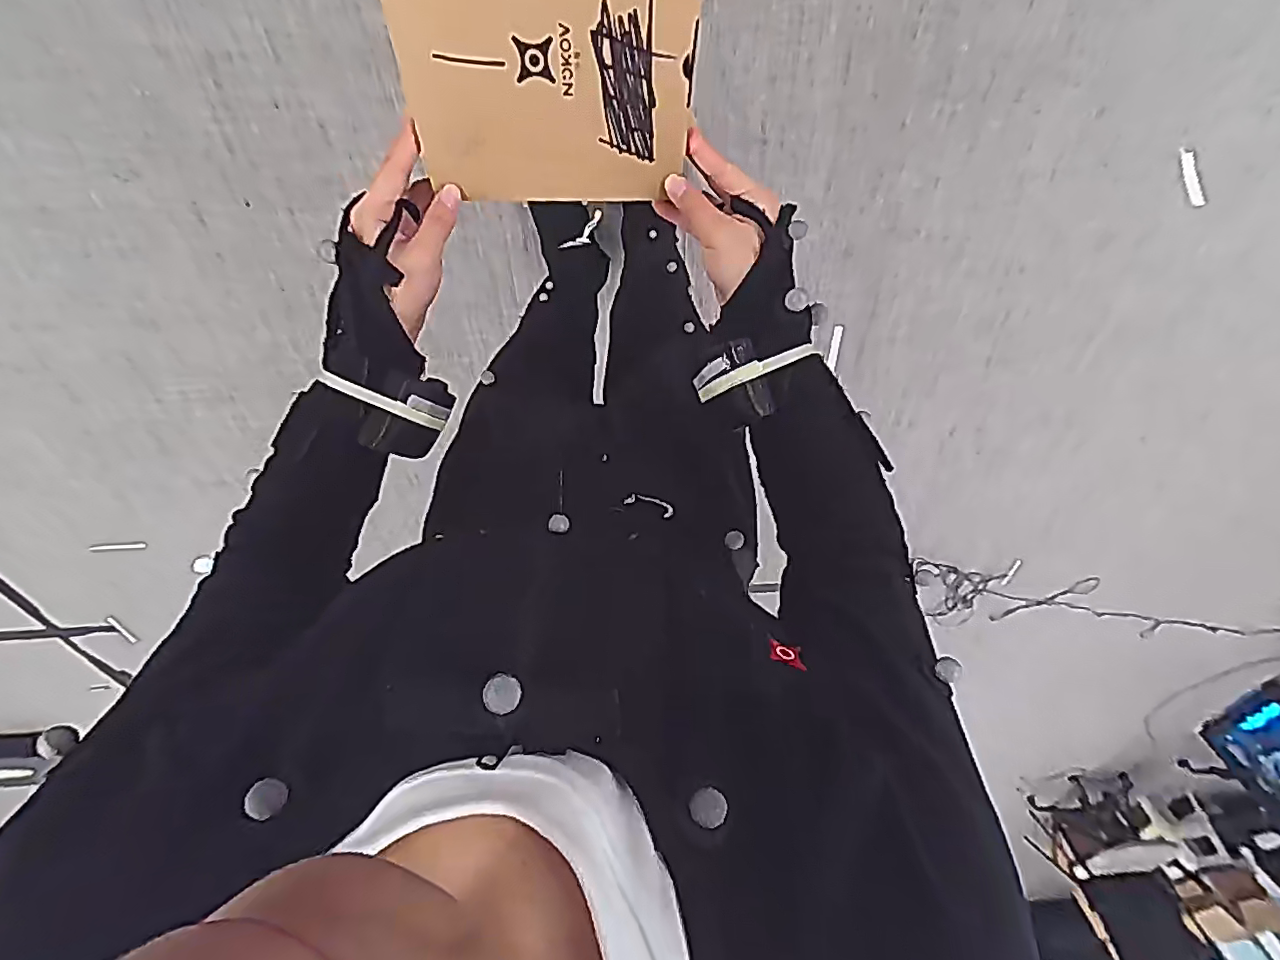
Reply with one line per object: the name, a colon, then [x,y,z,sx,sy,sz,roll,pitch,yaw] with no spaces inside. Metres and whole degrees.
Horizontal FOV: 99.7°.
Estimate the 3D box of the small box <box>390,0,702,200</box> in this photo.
small box: [-0.059,-0.317,0.369,0.179,0.176,0.168,-2,146,-4]
